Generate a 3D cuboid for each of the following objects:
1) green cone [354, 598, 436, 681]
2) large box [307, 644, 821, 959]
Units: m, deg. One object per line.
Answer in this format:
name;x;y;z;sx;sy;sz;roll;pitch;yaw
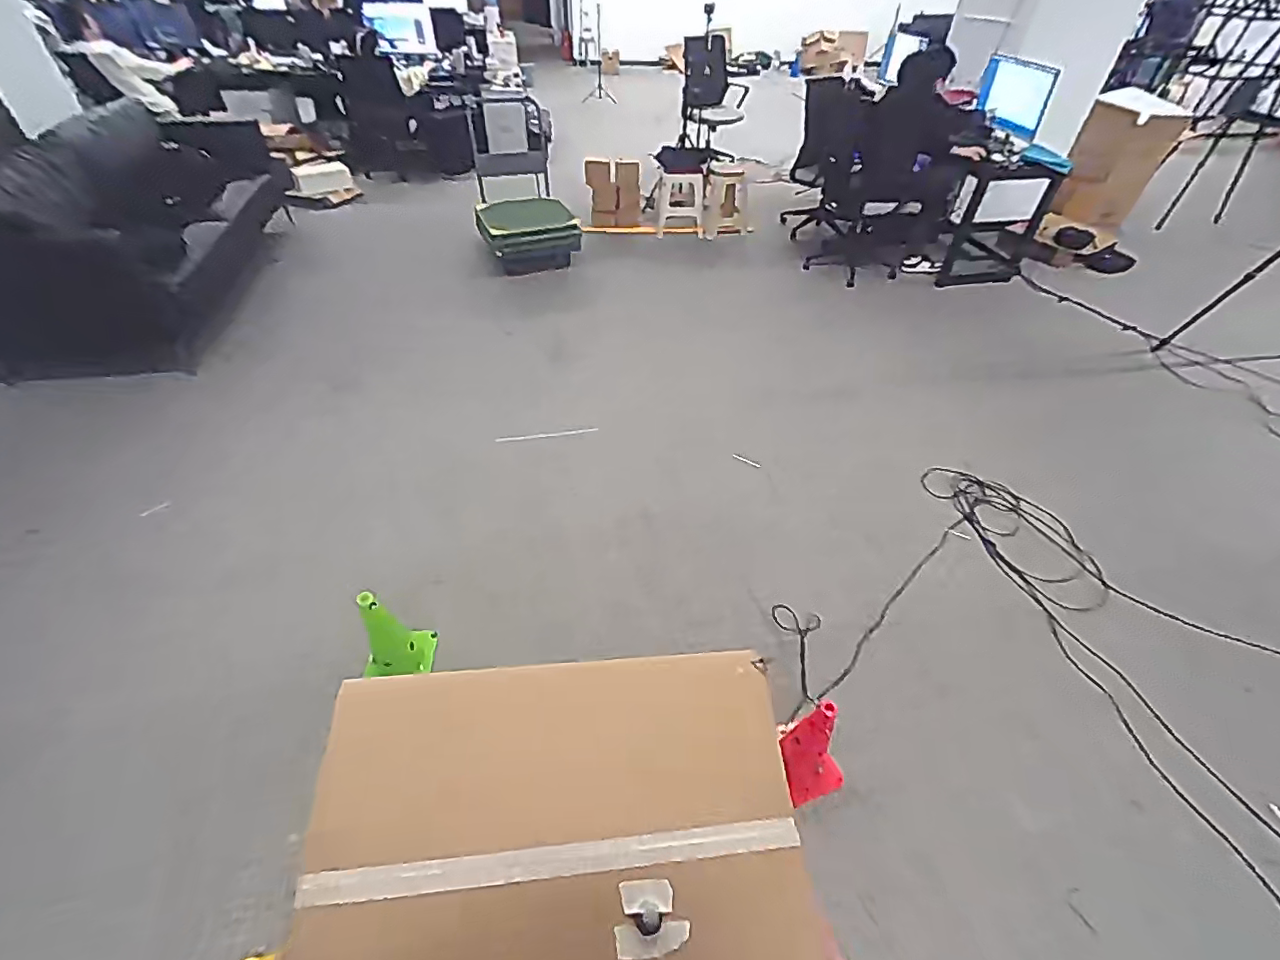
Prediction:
green cone;-0.755;0.455;1.580;0.200;0.368;0.202;-2;46;-4
large box;-0.077;0.391;0.585;0.408;0.320;0.320;-2;58;-8
